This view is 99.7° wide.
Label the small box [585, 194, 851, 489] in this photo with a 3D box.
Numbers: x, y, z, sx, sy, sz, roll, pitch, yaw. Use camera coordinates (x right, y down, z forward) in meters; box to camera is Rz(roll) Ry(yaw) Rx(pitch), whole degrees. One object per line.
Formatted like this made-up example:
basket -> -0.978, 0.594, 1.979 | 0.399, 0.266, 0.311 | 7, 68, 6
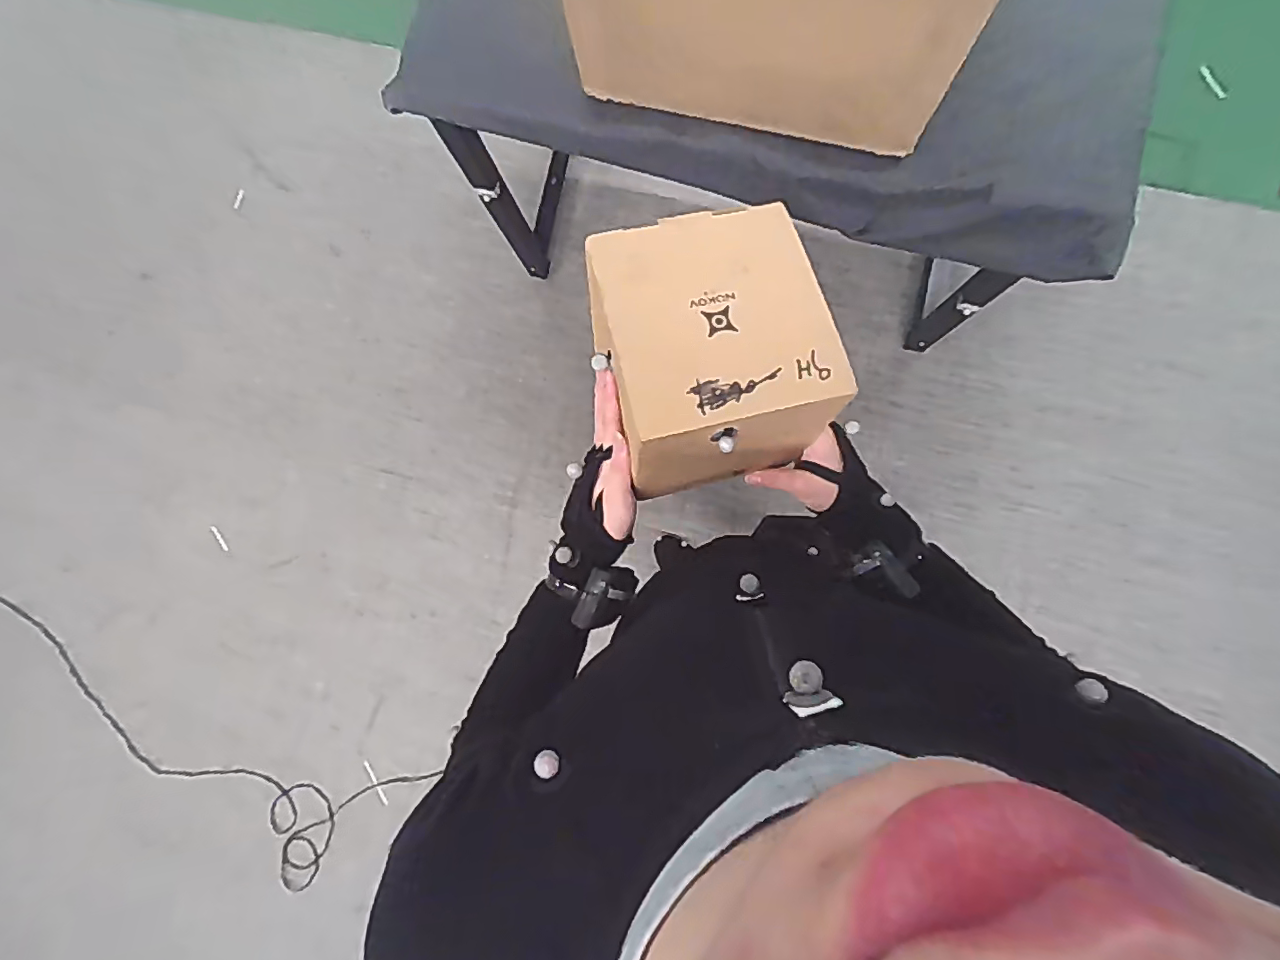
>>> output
small box -> 0.051, -0.110, 0.480 | 0.168, 0.176, 0.179 | -13, 74, -5
